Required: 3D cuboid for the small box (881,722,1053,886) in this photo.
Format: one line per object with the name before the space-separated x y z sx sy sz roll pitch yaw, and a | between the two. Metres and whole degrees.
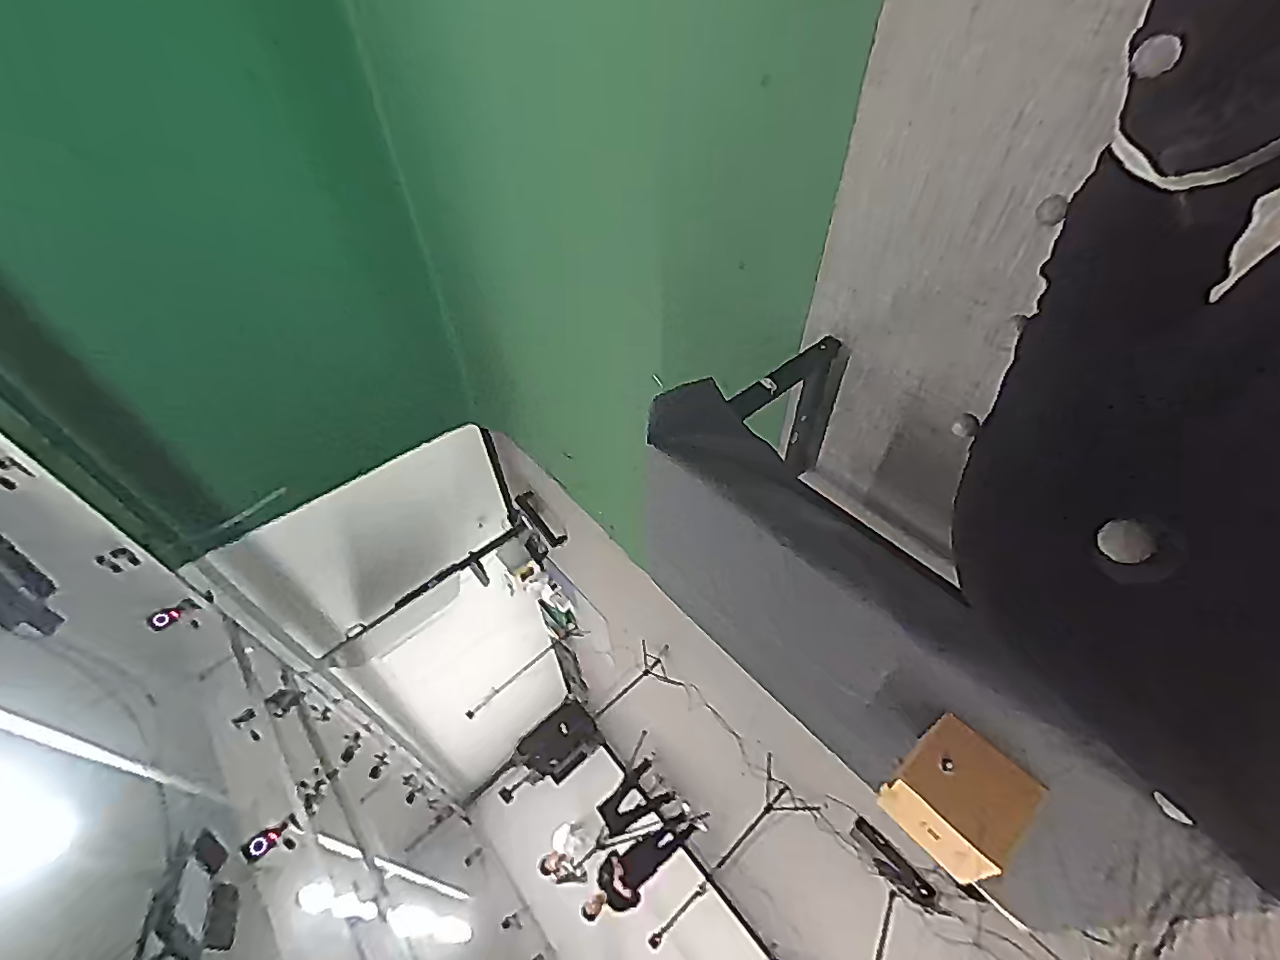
small box | 0.566 0.556 0.949 0.179 0.176 0.168 38 150 32
